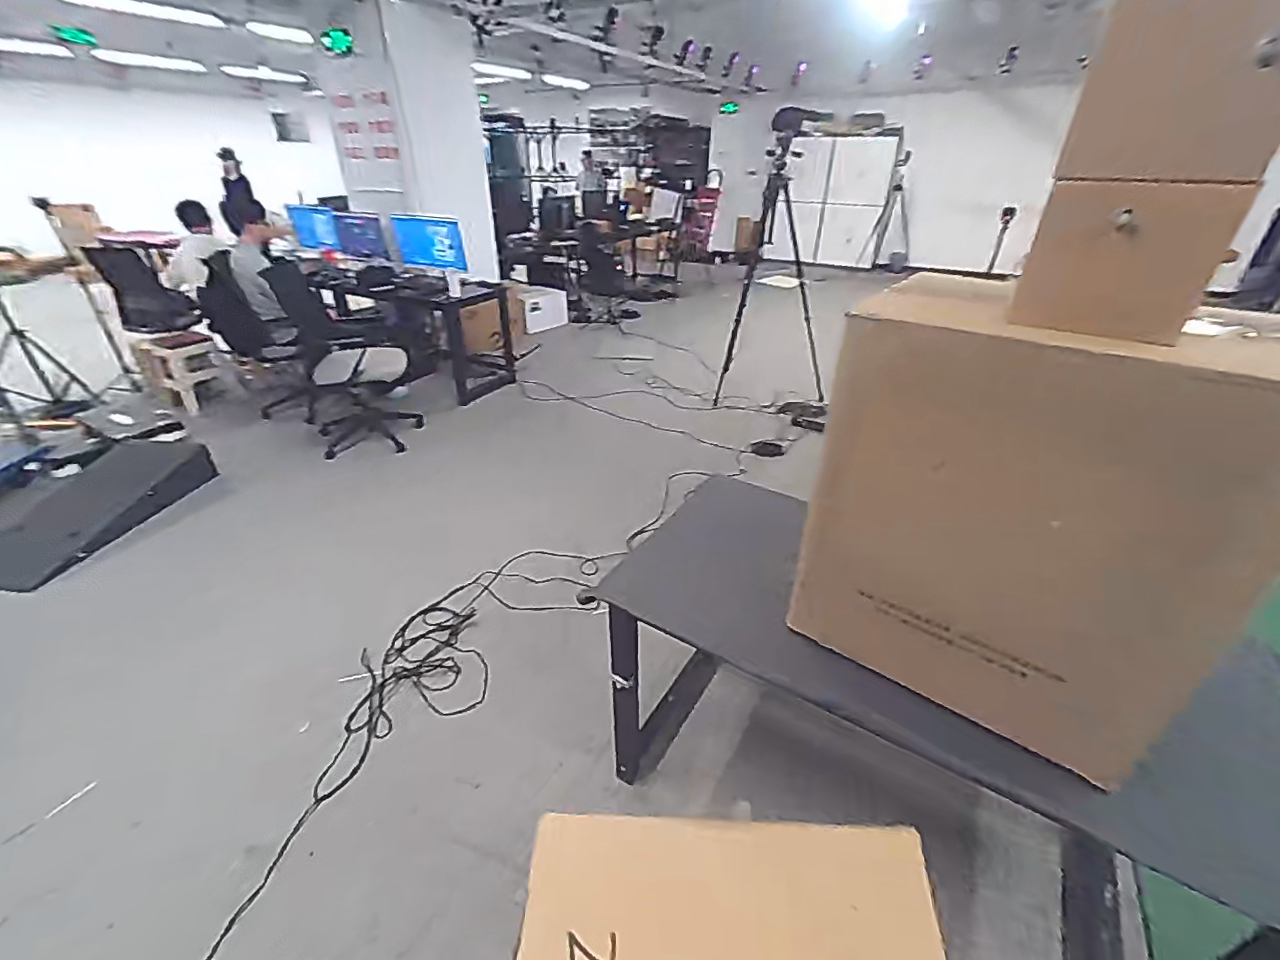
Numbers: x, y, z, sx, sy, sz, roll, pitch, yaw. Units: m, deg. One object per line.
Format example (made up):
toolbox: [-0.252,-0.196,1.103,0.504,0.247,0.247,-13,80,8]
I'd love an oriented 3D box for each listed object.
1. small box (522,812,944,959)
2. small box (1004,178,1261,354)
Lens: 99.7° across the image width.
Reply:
small box: [0.049,0.273,0.260,0.179,0.176,0.168,-7,47,13]
small box: [0.587,-0.265,0.663,0.179,0.176,0.168,23,40,33]
